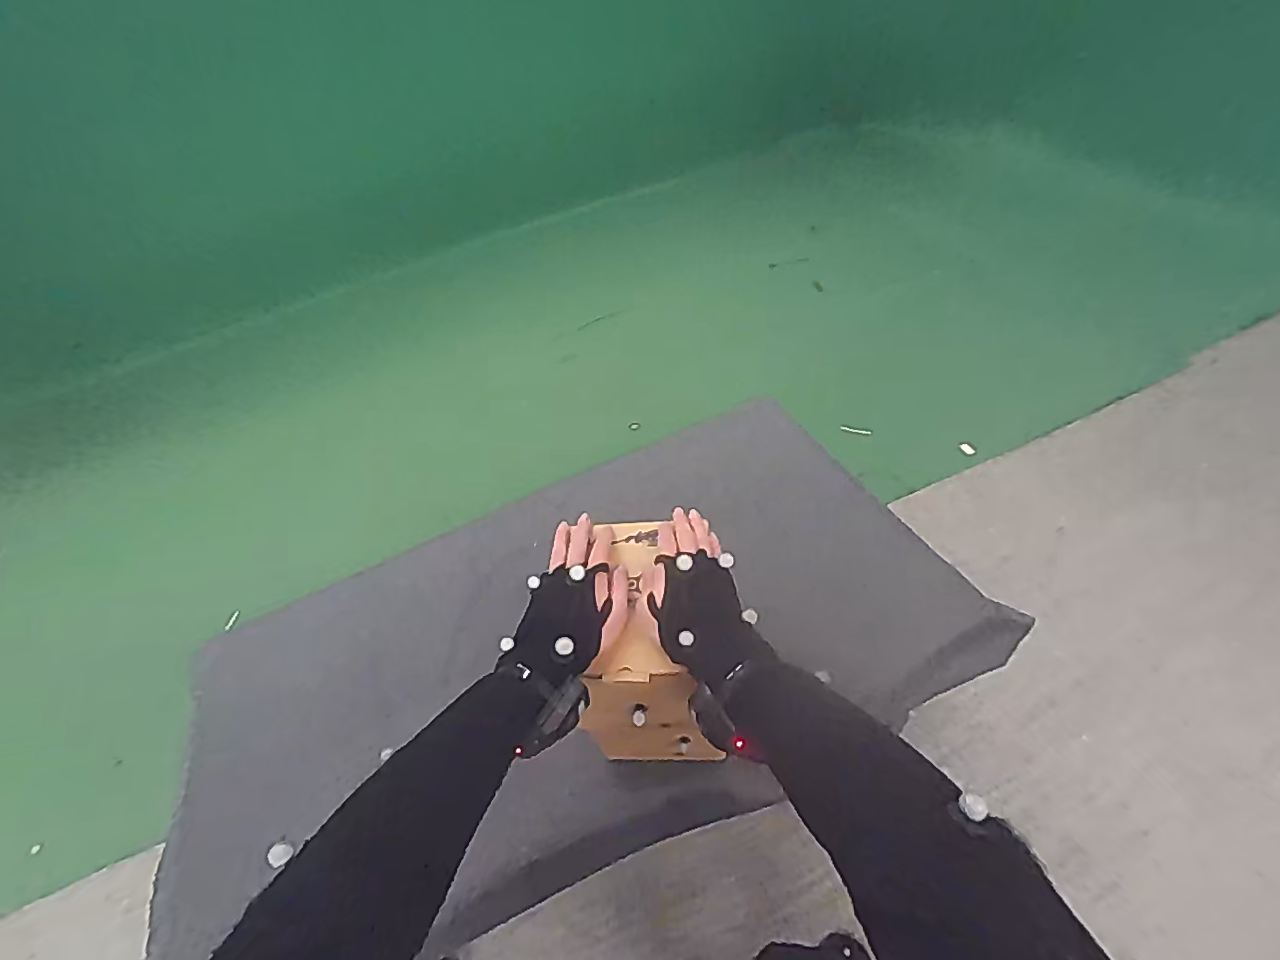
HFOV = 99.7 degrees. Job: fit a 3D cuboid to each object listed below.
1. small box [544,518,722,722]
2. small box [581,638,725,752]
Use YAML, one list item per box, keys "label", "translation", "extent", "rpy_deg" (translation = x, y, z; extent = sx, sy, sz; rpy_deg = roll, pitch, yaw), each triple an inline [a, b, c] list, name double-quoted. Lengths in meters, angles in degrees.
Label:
- label: "small box"
  translation: [0.004, 0.164, 0.613]
  extent: [0.168, 0.176, 0.179]
  rpy_deg: [-3, 50, 8]
- label: "small box"
  translation: [0.026, 0.261, 0.741]
  extent: [0.168, 0.176, 0.179]
  rpy_deg: [-4, 48, 8]
